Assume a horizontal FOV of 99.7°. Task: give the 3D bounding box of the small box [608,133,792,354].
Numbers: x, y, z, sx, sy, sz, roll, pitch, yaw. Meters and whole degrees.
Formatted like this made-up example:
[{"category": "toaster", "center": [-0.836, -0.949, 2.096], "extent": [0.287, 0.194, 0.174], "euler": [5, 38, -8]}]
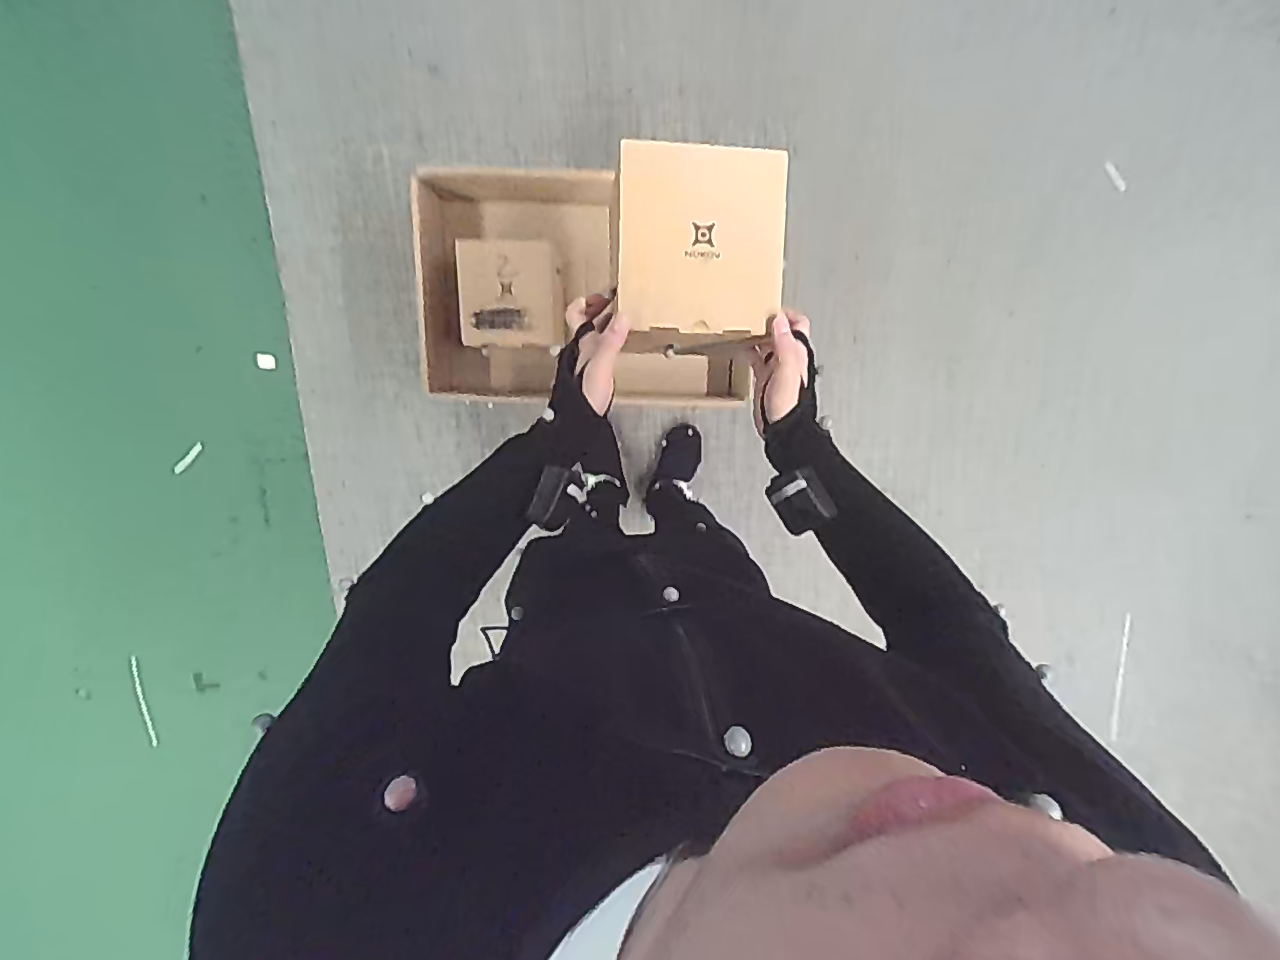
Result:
[{"category": "small box", "center": [0.052, -0.238, 0.588], "extent": [0.168, 0.176, 0.179], "euler": [0, 97, -6]}]
